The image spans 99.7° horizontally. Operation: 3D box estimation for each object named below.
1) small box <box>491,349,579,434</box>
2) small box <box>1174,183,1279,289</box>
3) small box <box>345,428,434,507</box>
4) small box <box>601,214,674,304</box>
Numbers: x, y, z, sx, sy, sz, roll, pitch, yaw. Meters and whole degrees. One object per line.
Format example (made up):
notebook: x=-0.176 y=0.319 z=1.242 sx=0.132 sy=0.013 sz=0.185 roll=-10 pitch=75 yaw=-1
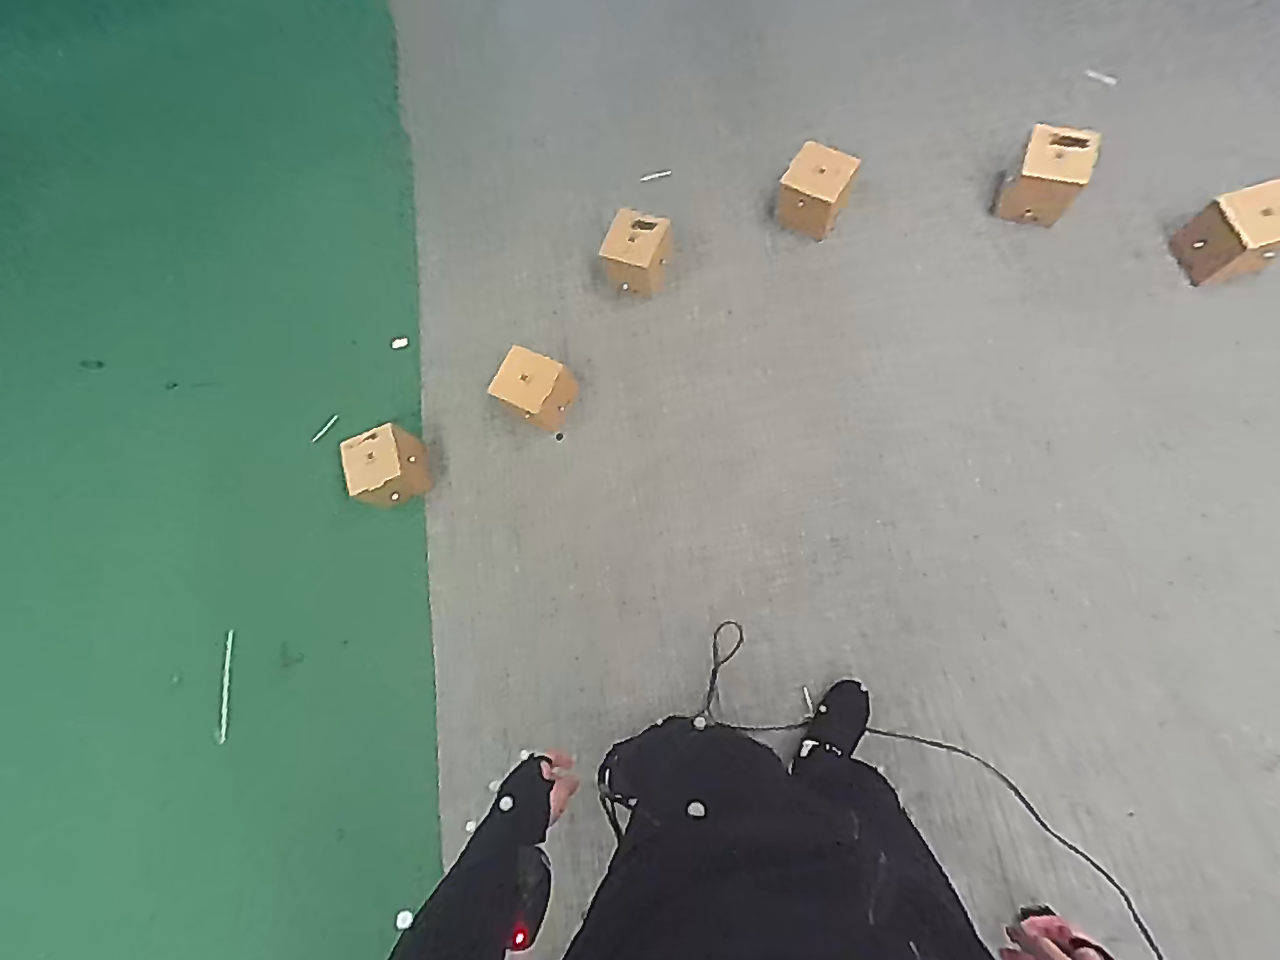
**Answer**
small box: x=-0.308 y=-0.258 z=1.621 sx=0.179 sy=0.176 sz=0.168 roll=24 pitch=80 yaw=14
small box: x=1.572 y=-0.632 z=1.418 sx=0.179 sy=0.176 sz=0.168 roll=-14 pitch=74 yaw=5
small box: x=-0.747 y=-0.029 z=1.627 sx=0.168 sy=0.176 sz=0.179 roll=-21 pitch=73 yaw=3
small box: x=0.000 y=-0.687 z=1.690 sx=0.168 sy=0.176 sz=0.179 roll=21 pitch=79 yaw=14
